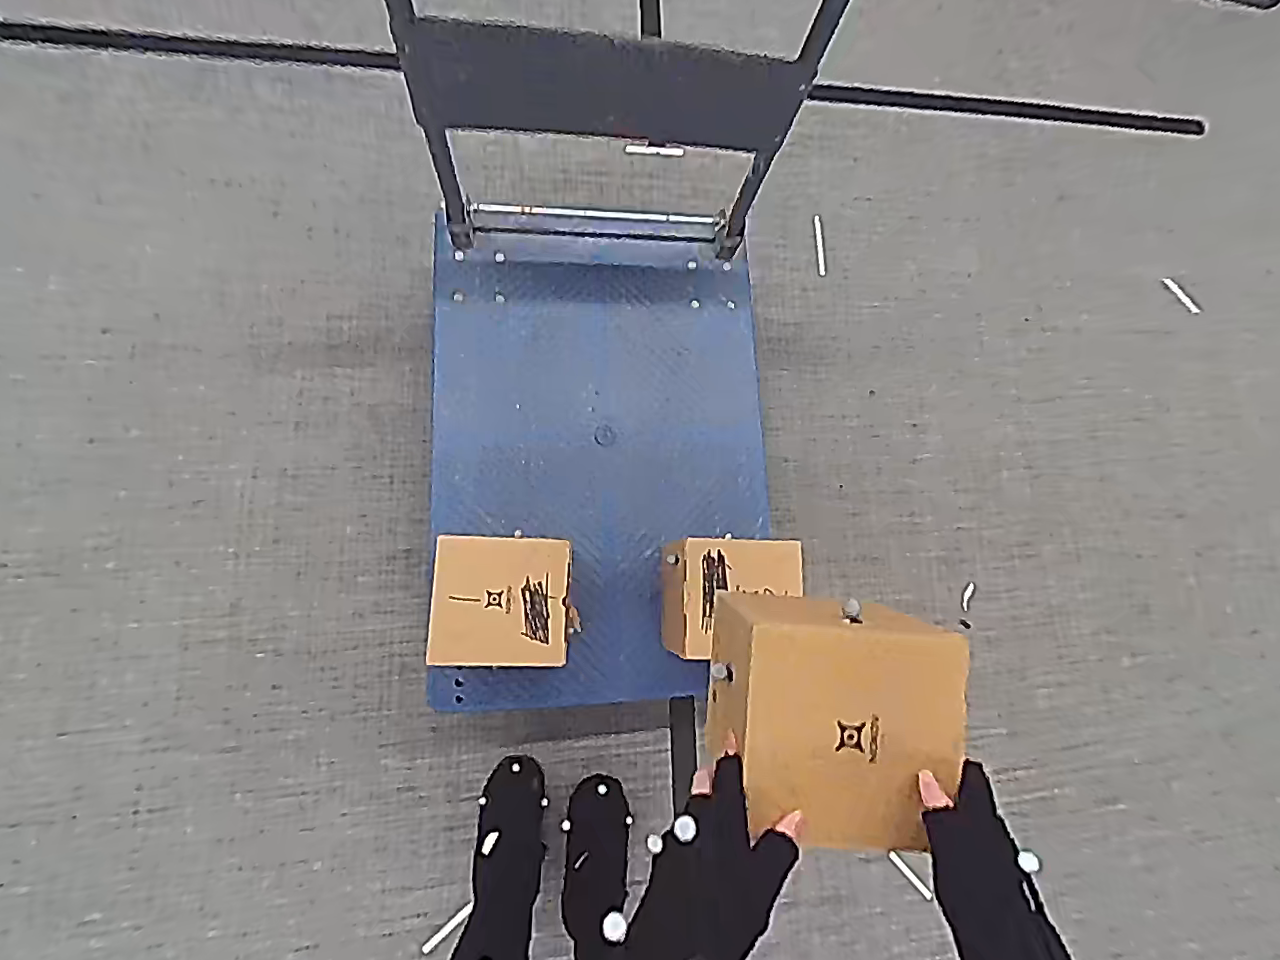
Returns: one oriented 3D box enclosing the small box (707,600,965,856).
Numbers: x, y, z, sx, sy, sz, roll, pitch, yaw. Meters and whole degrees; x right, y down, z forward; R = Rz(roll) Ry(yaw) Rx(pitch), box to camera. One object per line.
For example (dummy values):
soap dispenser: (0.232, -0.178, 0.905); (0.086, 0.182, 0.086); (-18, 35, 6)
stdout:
small box: (0.163, 0.208, 0.500); (0.179, 0.176, 0.168); (4, 86, -3)

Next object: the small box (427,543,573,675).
small box: (-0.191, 0.180, 0.779); (0.179, 0.176, 0.168); (3, 79, -8)
